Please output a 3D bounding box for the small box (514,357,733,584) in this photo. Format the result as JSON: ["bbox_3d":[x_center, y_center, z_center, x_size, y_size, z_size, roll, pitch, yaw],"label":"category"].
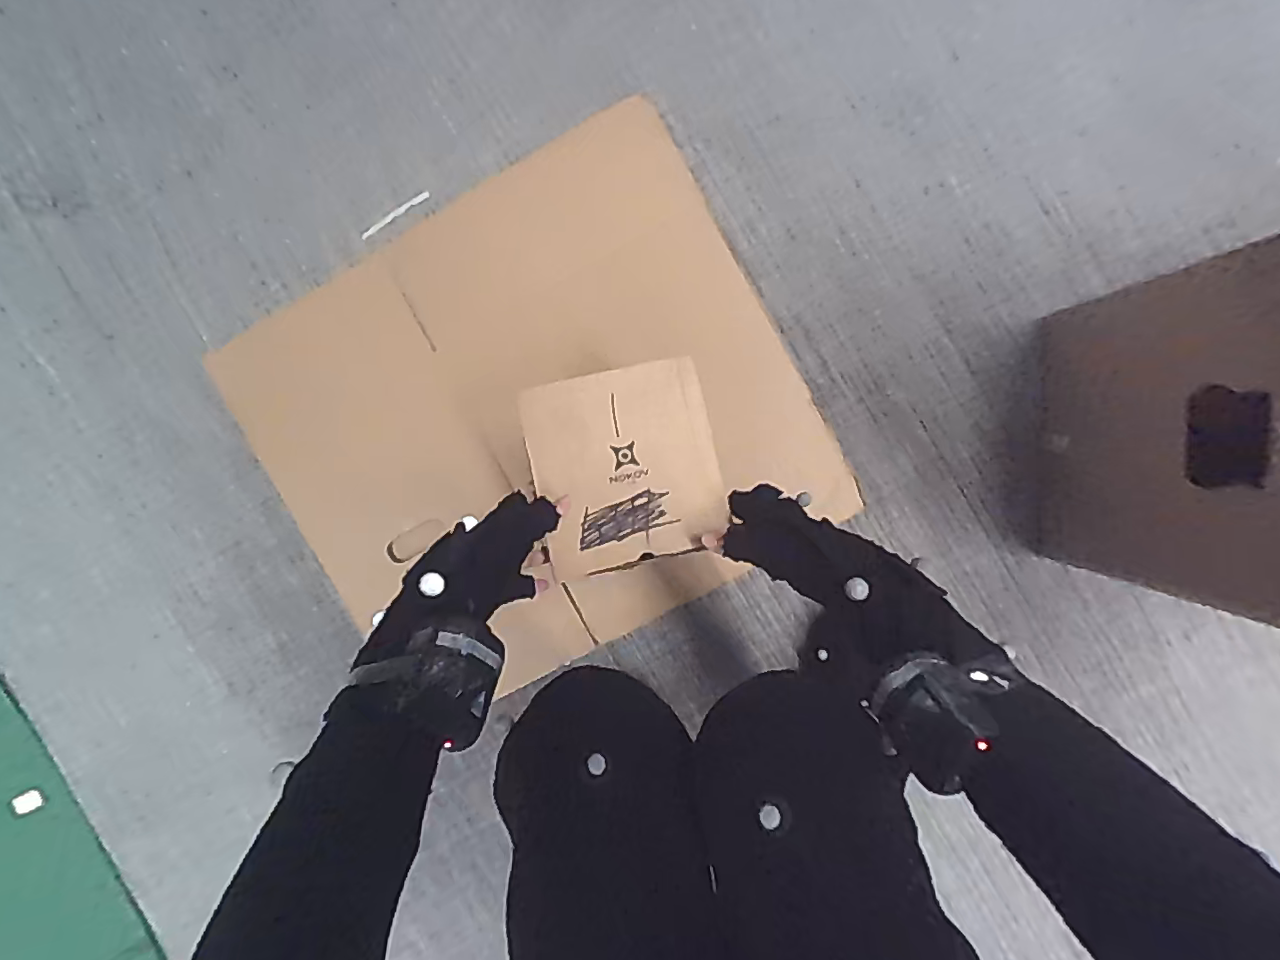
[{"bbox_3d":[-0.017,-0.004,0.555,0.168,0.176,0.179,-13,84,-3],"label":"small box"}]
